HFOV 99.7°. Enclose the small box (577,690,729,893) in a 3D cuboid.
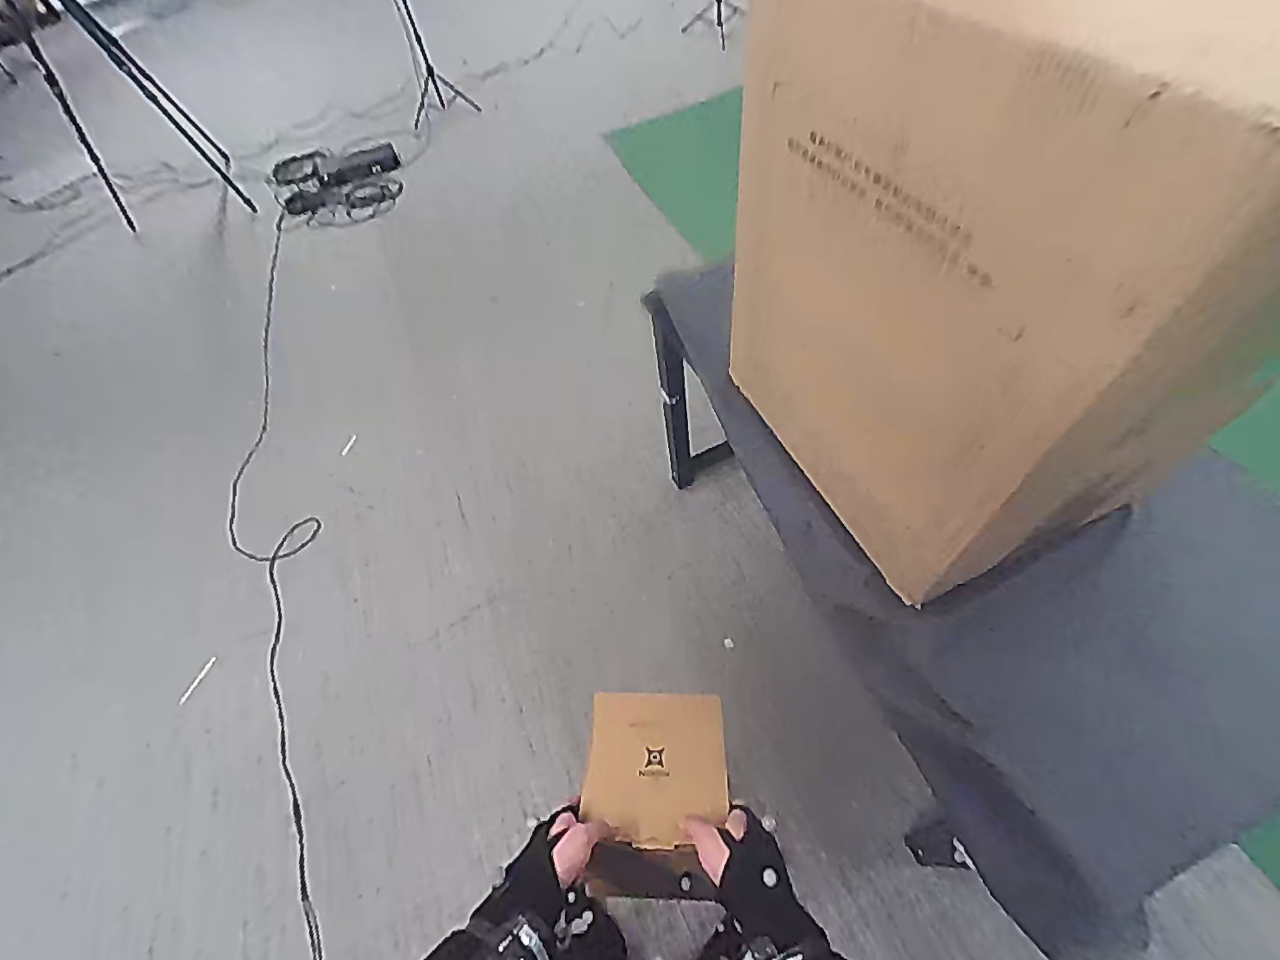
[{"bbox_3d":[0.021,0.391,0.683,0.168,0.176,0.179,0,35,2],"label":"small box"}]
